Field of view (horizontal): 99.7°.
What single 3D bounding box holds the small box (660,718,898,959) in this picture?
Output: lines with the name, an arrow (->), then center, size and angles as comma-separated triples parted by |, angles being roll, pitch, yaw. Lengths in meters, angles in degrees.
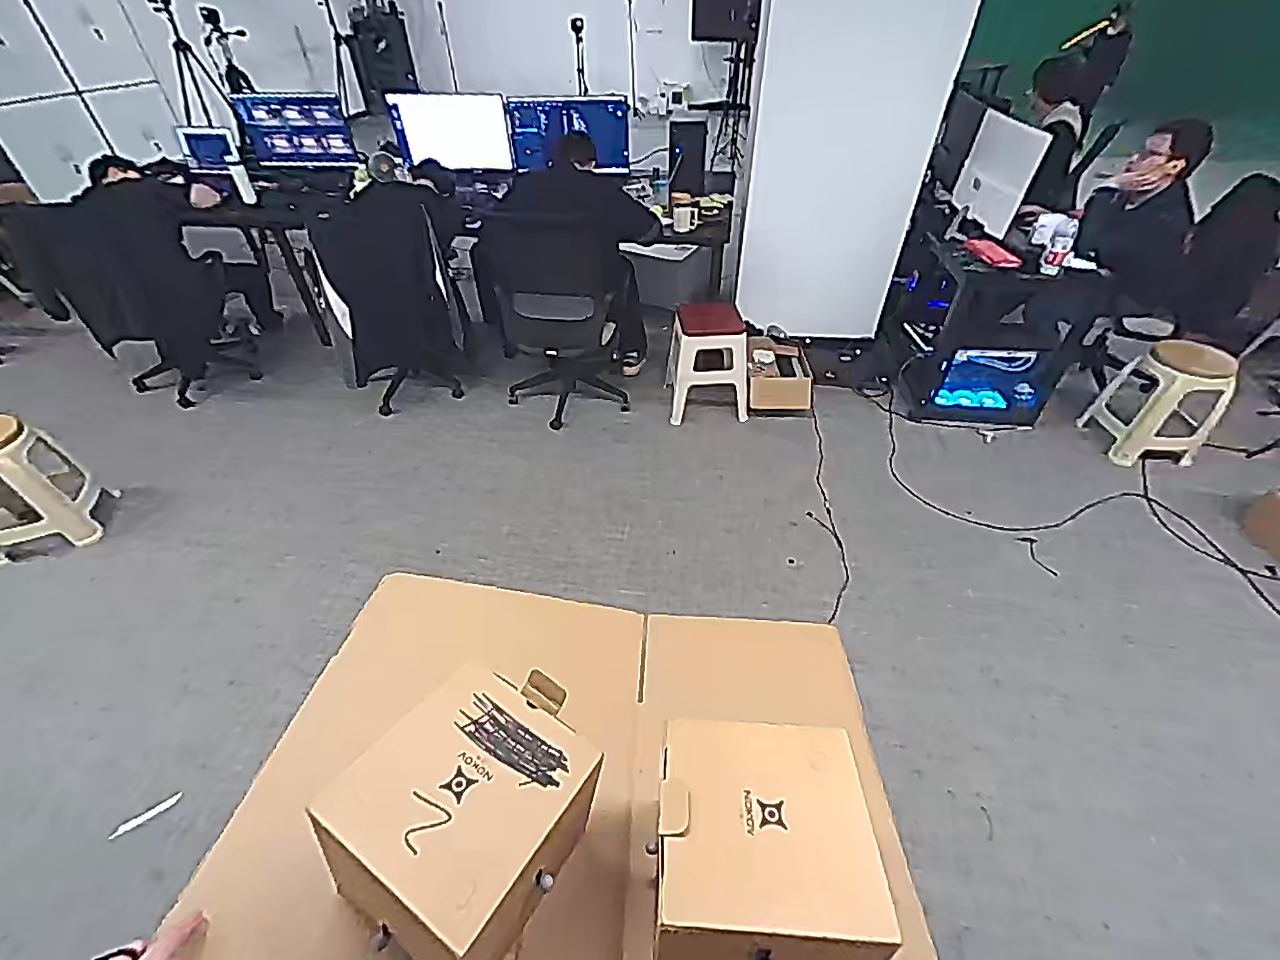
small box -> 0.110, 0.353, 0.512 | 0.179, 0.176, 0.168 | 1, 34, 3
